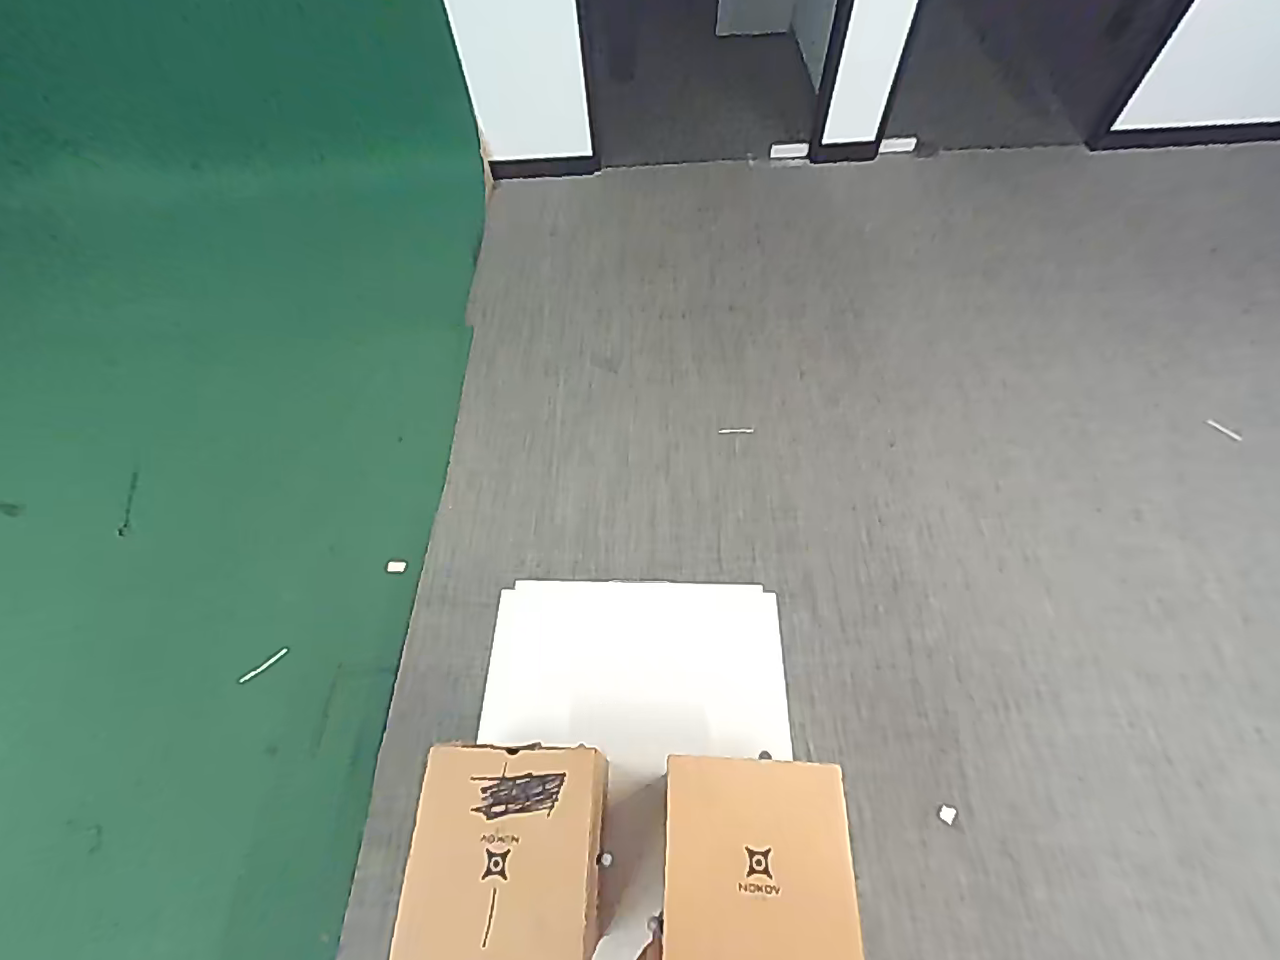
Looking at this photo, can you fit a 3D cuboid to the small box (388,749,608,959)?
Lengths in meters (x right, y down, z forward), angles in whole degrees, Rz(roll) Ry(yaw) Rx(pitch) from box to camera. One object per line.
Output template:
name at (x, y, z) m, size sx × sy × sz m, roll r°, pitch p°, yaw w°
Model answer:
small box at (-0.124, 0.384, 0.554) m, size 0.168 × 0.176 × 0.179 m, roll 1°, pitch 59°, yaw 3°

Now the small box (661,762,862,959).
small box at (0.107, 0.392, 0.539) m, size 0.168 × 0.176 × 0.179 m, roll 1°, pitch 59°, yaw 5°
